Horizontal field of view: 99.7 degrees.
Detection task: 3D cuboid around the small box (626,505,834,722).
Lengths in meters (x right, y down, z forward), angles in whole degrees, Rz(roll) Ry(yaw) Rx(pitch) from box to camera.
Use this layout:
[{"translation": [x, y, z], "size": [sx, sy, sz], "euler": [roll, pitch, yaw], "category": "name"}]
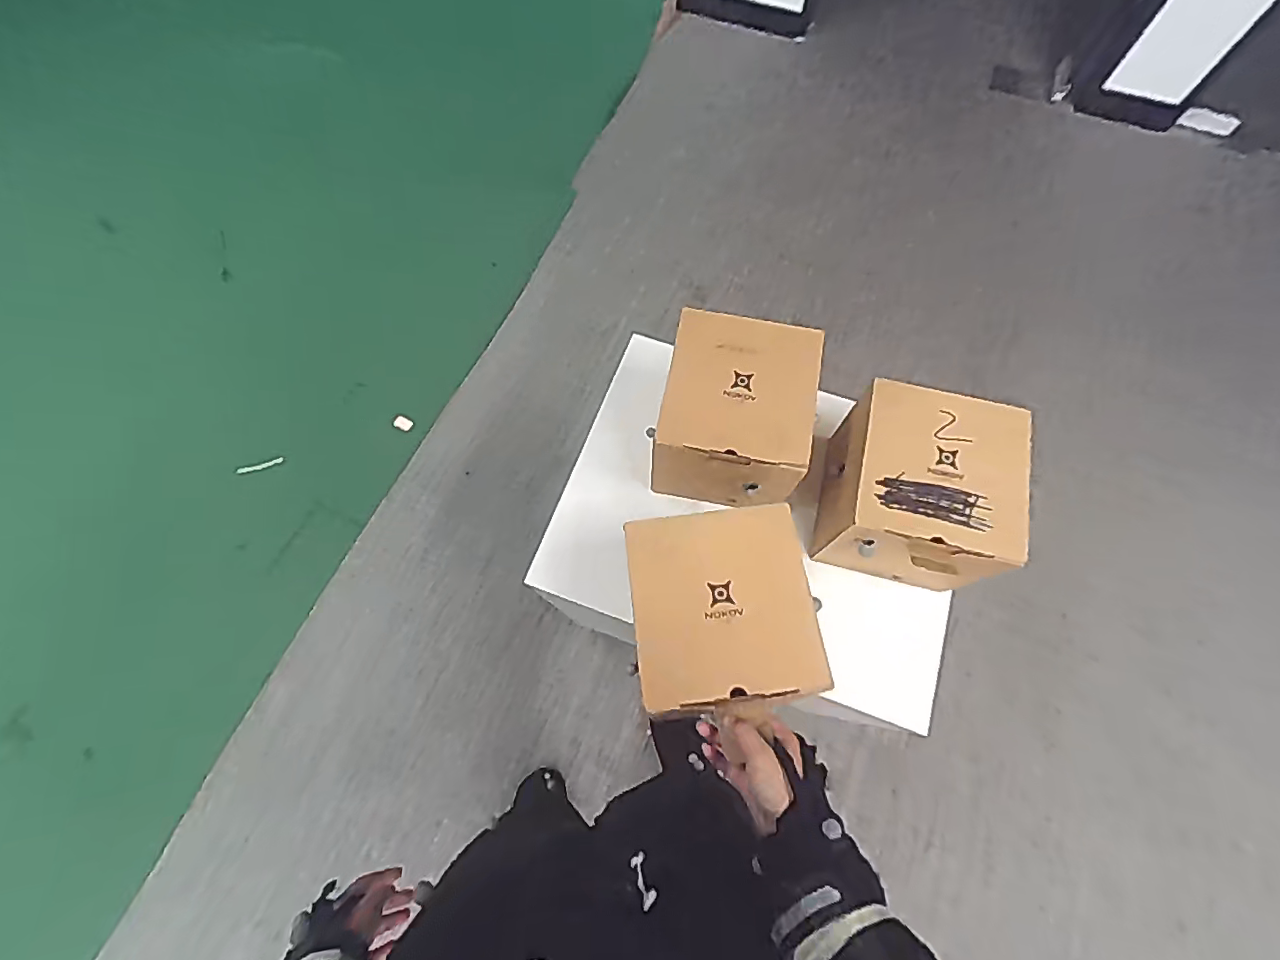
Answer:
[{"translation": [0.077, 0.146, 0.564], "size": [0.168, 0.176, 0.179], "euler": [-7, 64, -1], "category": "small box"}]
